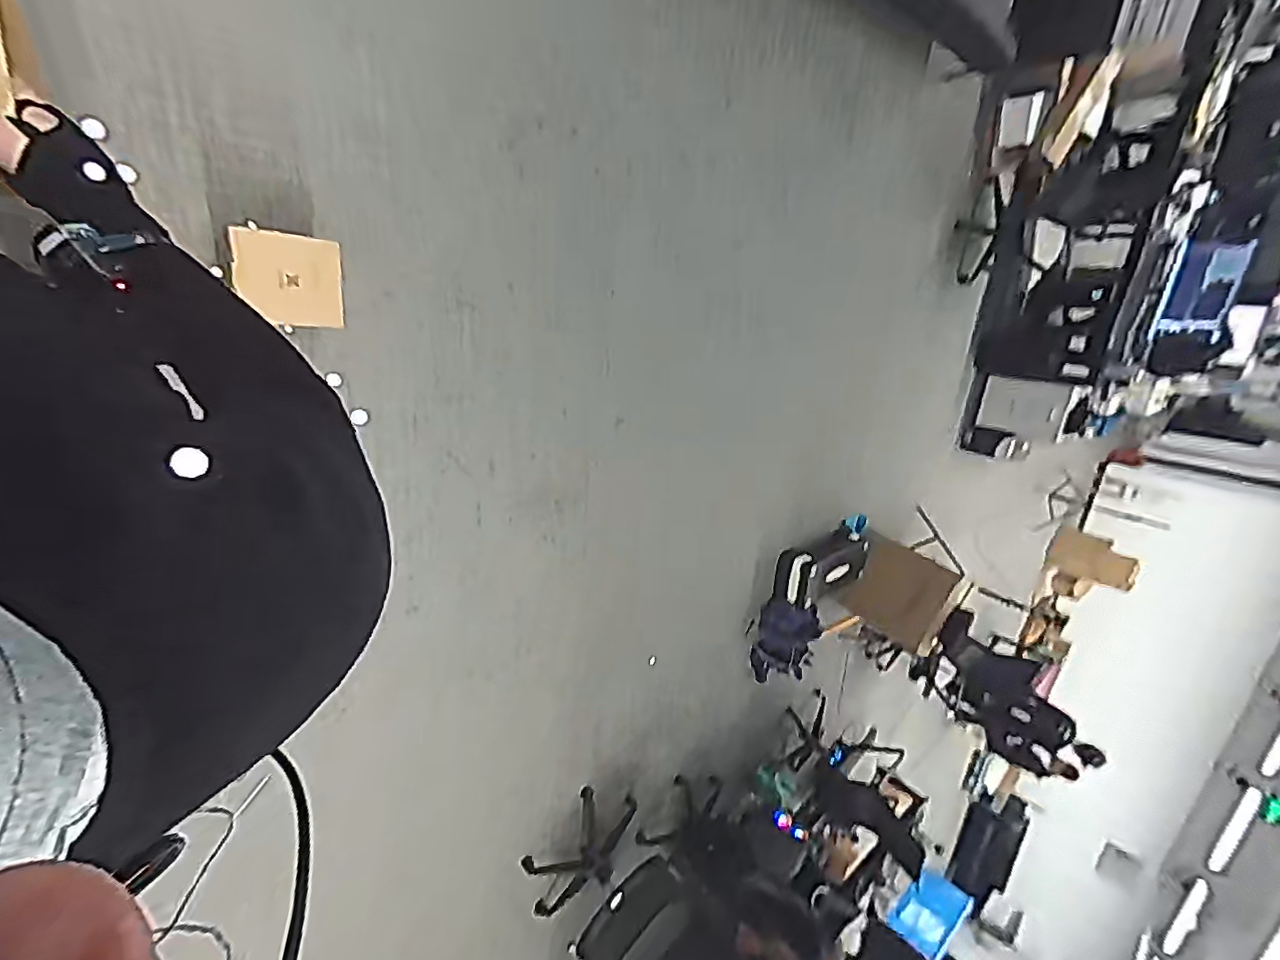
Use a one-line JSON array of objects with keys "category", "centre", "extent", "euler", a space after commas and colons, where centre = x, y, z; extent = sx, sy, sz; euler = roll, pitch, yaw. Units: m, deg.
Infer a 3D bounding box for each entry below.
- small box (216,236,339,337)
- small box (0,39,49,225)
[{"category": "small box", "centre": [-0.719, -0.379, 1.070], "extent": [0.179, 0.176, 0.168], "euler": [-10, 115, -41]}, {"category": "small box", "centre": [-0.657, -0.328, 0.465], "extent": [0.168, 0.176, 0.179], "euler": [-9, 115, -38]}]
